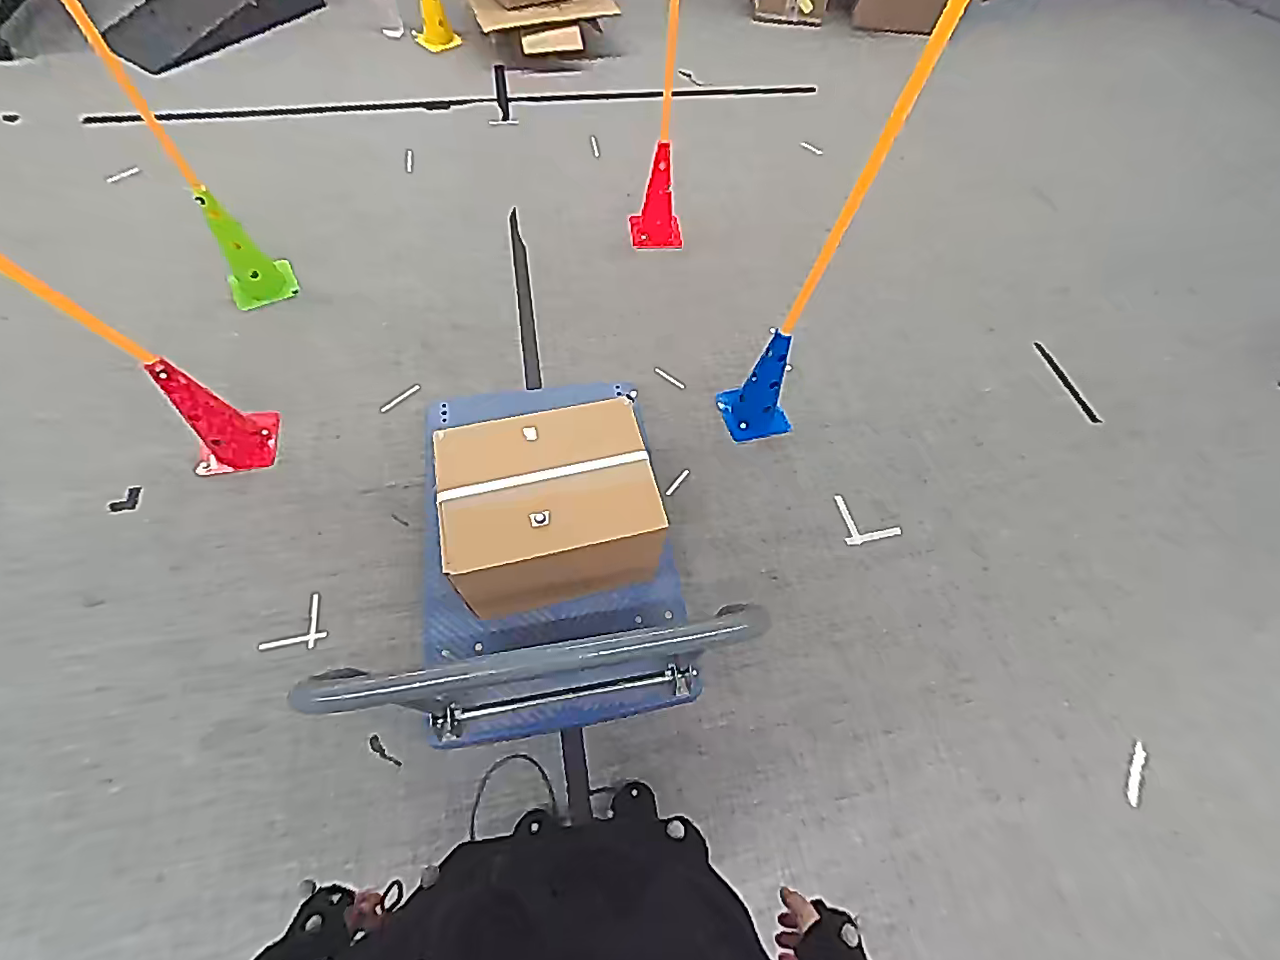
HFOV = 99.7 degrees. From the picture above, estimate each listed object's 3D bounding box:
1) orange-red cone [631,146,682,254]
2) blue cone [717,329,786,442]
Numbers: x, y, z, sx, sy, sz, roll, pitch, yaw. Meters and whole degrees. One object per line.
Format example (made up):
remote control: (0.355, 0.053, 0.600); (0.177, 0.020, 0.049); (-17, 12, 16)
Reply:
orange-red cone: (0.075, -1.056, 2.017); (0.199, 0.360, 0.198); (-2, 61, -6)
blue cone: (0.372, -0.292, 1.617); (0.193, 0.380, 0.192); (-11, 61, -11)
